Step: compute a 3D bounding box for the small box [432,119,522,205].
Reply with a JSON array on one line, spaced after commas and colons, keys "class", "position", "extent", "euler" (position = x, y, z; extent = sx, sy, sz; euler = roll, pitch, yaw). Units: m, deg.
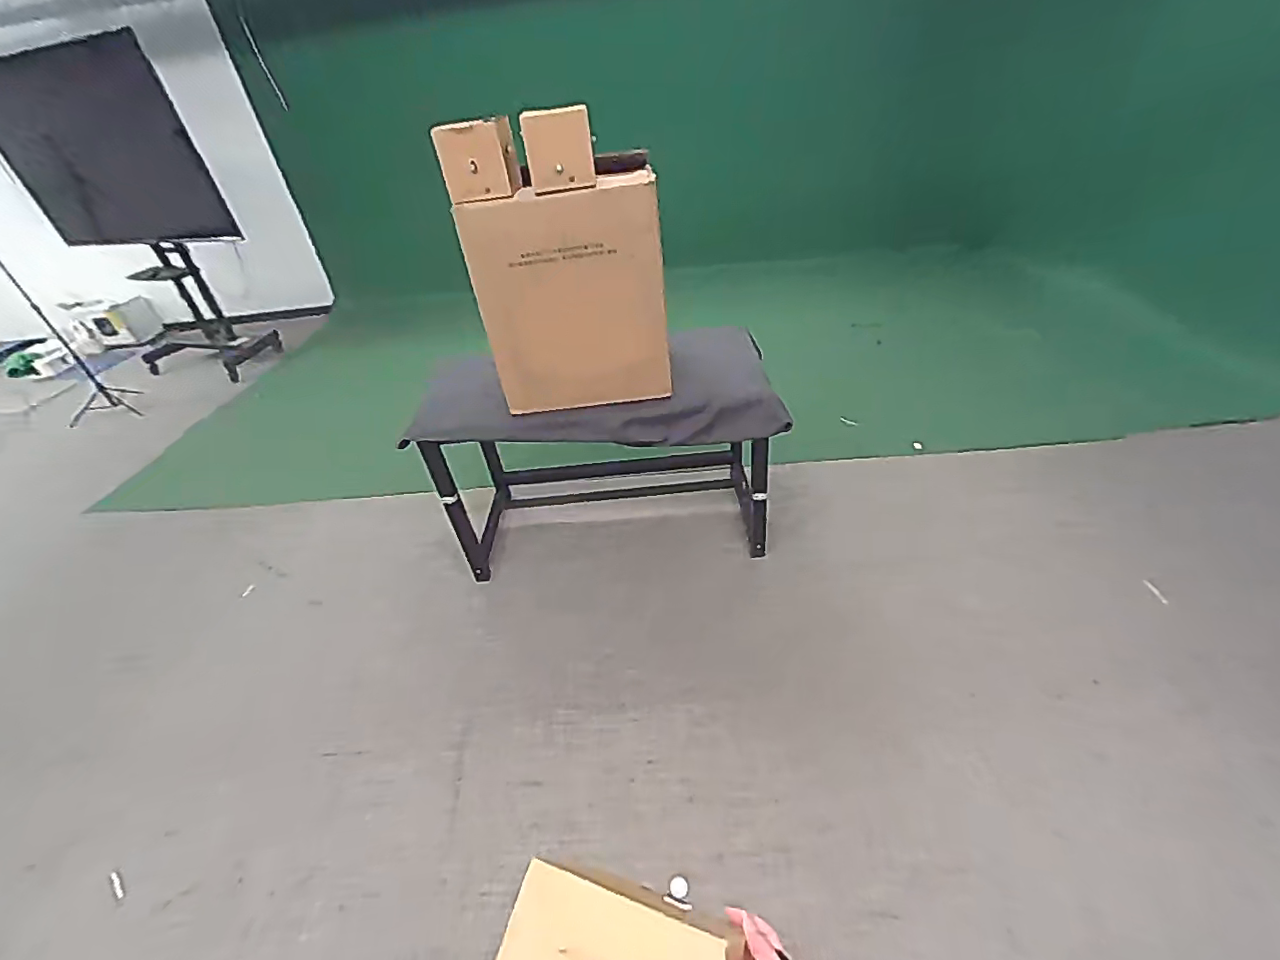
[{"class": "small box", "position": [-0.423, -0.842, 1.436], "extent": [0.168, 0.176, 0.179], "euler": [-6, 37, 4]}]
